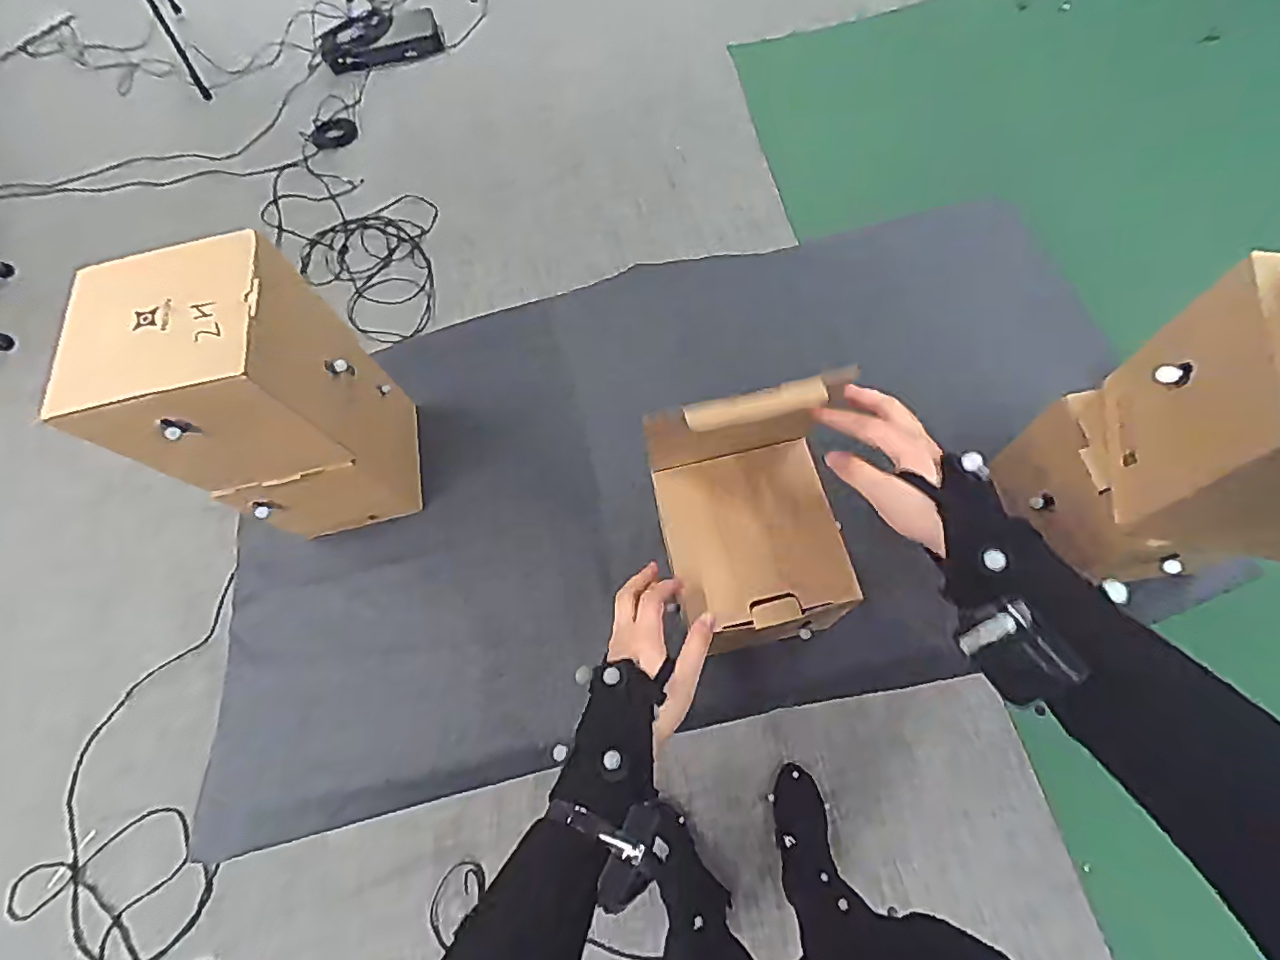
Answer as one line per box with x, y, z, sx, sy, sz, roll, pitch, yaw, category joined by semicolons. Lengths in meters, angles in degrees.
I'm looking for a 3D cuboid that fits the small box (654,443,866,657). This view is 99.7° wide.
0.118;0.088;0.591;0.168;0.176;0.179;-13;64;0;small box

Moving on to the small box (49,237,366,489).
-0.407;-0.104;0.545;0.179;0.176;0.168;-13;68;0;small box

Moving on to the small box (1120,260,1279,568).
0.517;-0.037;0.416;0.179;0.176;0.168;12;67;11;small box

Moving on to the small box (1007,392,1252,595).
0.529;0.016;0.571;0.179;0.176;0.168;-8;65;4;small box
